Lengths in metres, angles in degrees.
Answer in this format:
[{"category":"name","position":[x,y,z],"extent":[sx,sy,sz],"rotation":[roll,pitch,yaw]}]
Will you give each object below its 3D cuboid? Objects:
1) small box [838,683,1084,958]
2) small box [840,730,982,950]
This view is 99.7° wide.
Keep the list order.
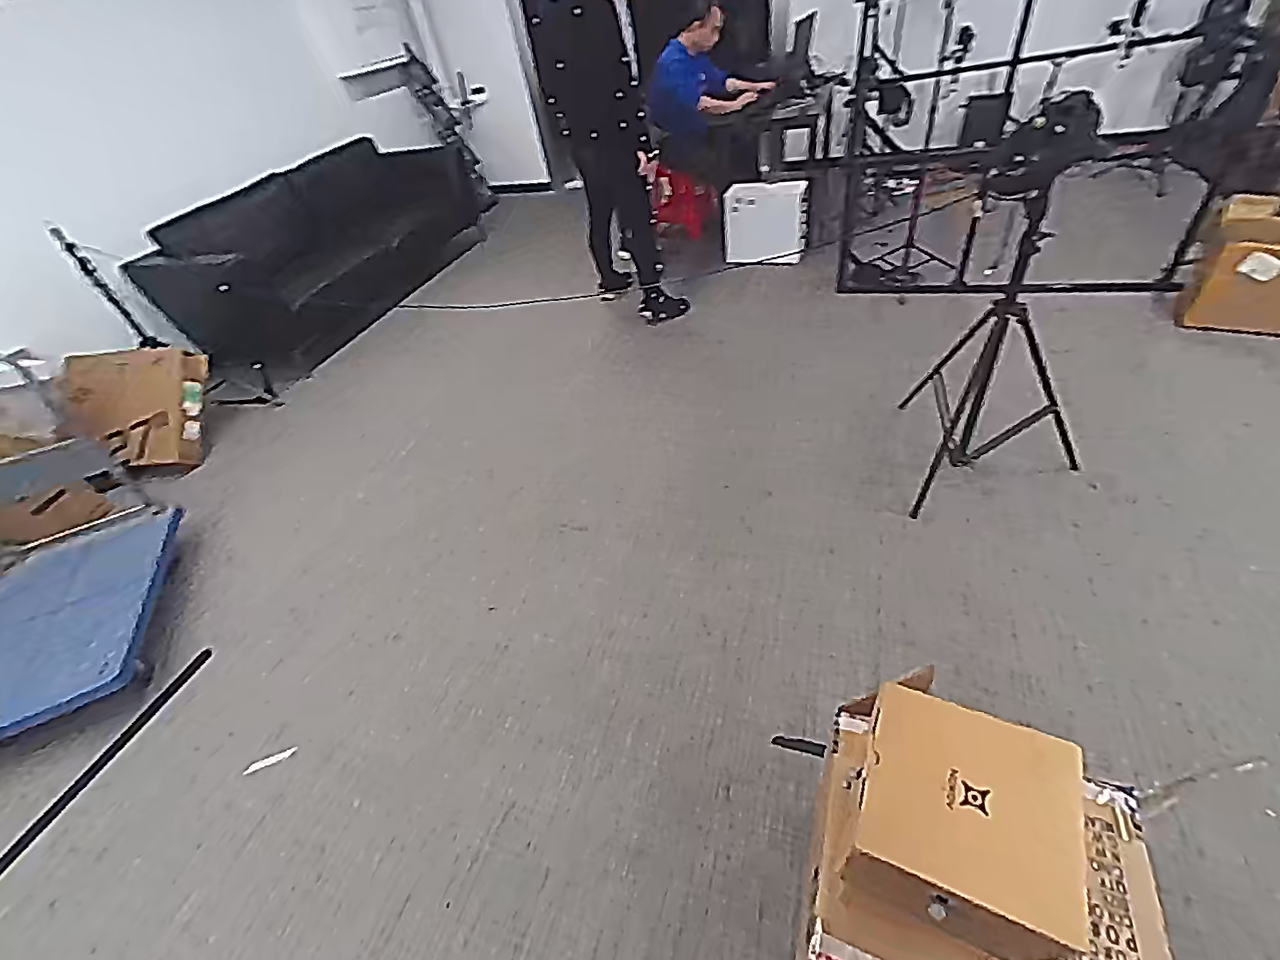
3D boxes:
[{"category":"small box","position":[0.314,0.344,0.552],"extent":[0.179,0.176,0.168],"rotation":[13,50,26]},{"category":"small box","position":[0.353,0.447,0.673],"extent":[0.179,0.176,0.168],"rotation":[9,49,21]}]
